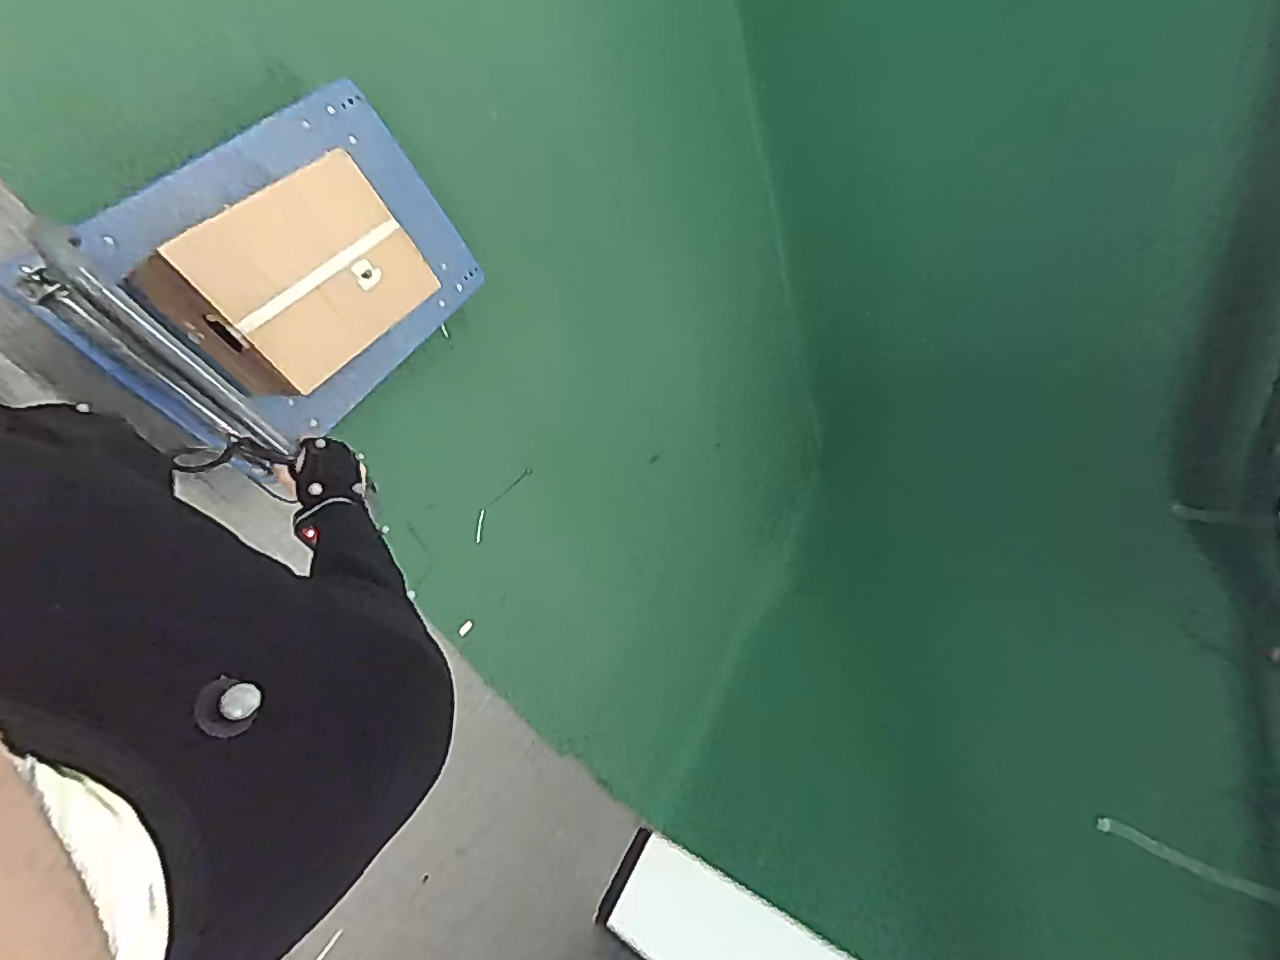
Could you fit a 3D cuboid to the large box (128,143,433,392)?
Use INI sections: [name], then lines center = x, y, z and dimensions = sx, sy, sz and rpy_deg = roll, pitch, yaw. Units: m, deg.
[large box]
center = -0.749, -0.434, 1.159
dimensions = 0.408, 0.320, 0.320
rpy_deg = -56, 134, -30
